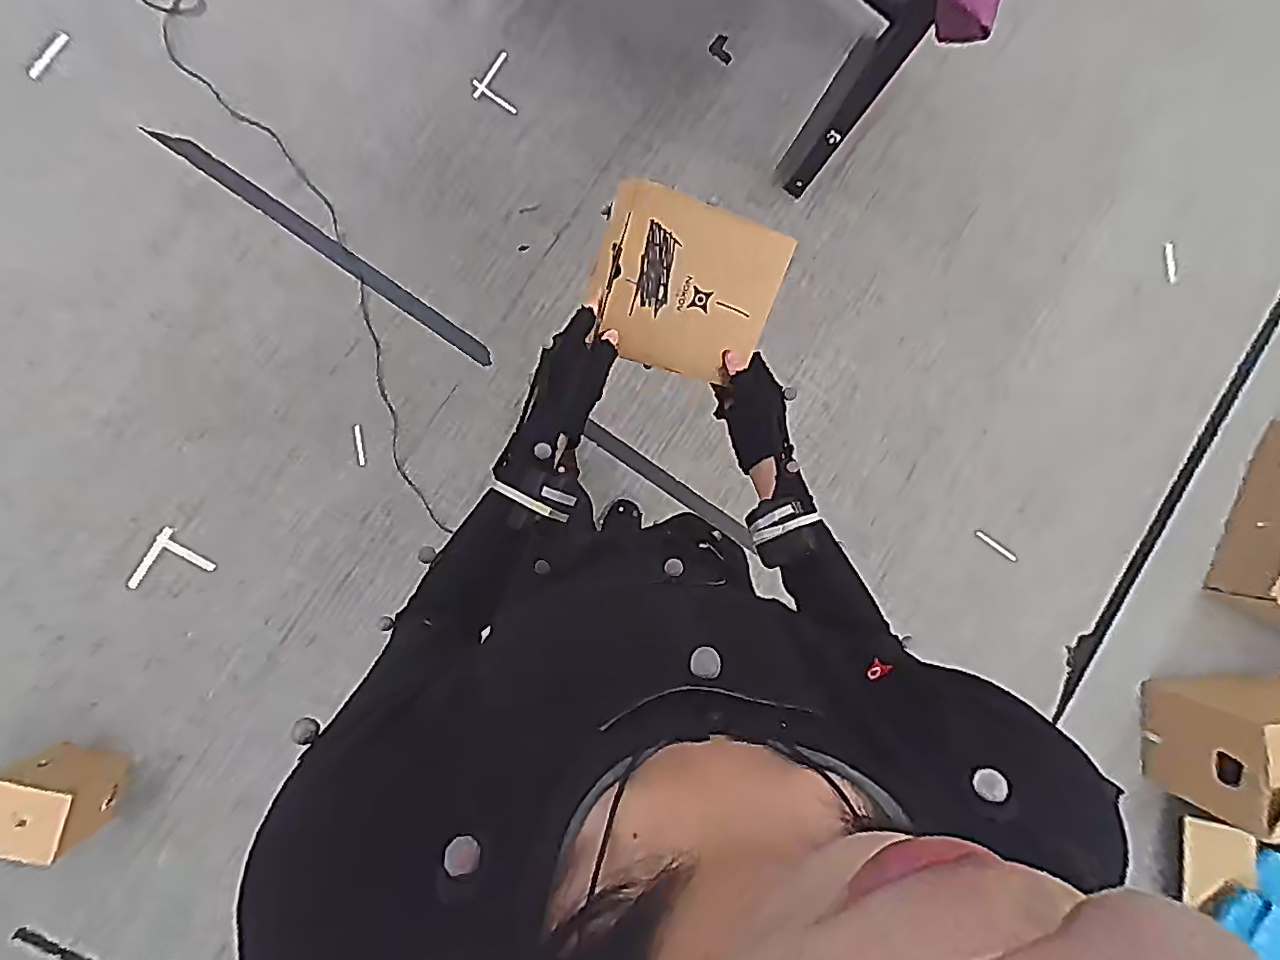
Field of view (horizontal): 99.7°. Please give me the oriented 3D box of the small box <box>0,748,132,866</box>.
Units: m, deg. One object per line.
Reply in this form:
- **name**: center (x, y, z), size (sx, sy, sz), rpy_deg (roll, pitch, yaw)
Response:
- **small box**: center (-1.375, 0.759, 1.274), size (0.179, 0.176, 0.168), rpy_deg (15, 88, -7)

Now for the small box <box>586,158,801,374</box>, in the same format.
- **small box**: center (0.043, -0.239, 0.614), size (0.179, 0.176, 0.168), rpy_deg (12, 114, -16)
